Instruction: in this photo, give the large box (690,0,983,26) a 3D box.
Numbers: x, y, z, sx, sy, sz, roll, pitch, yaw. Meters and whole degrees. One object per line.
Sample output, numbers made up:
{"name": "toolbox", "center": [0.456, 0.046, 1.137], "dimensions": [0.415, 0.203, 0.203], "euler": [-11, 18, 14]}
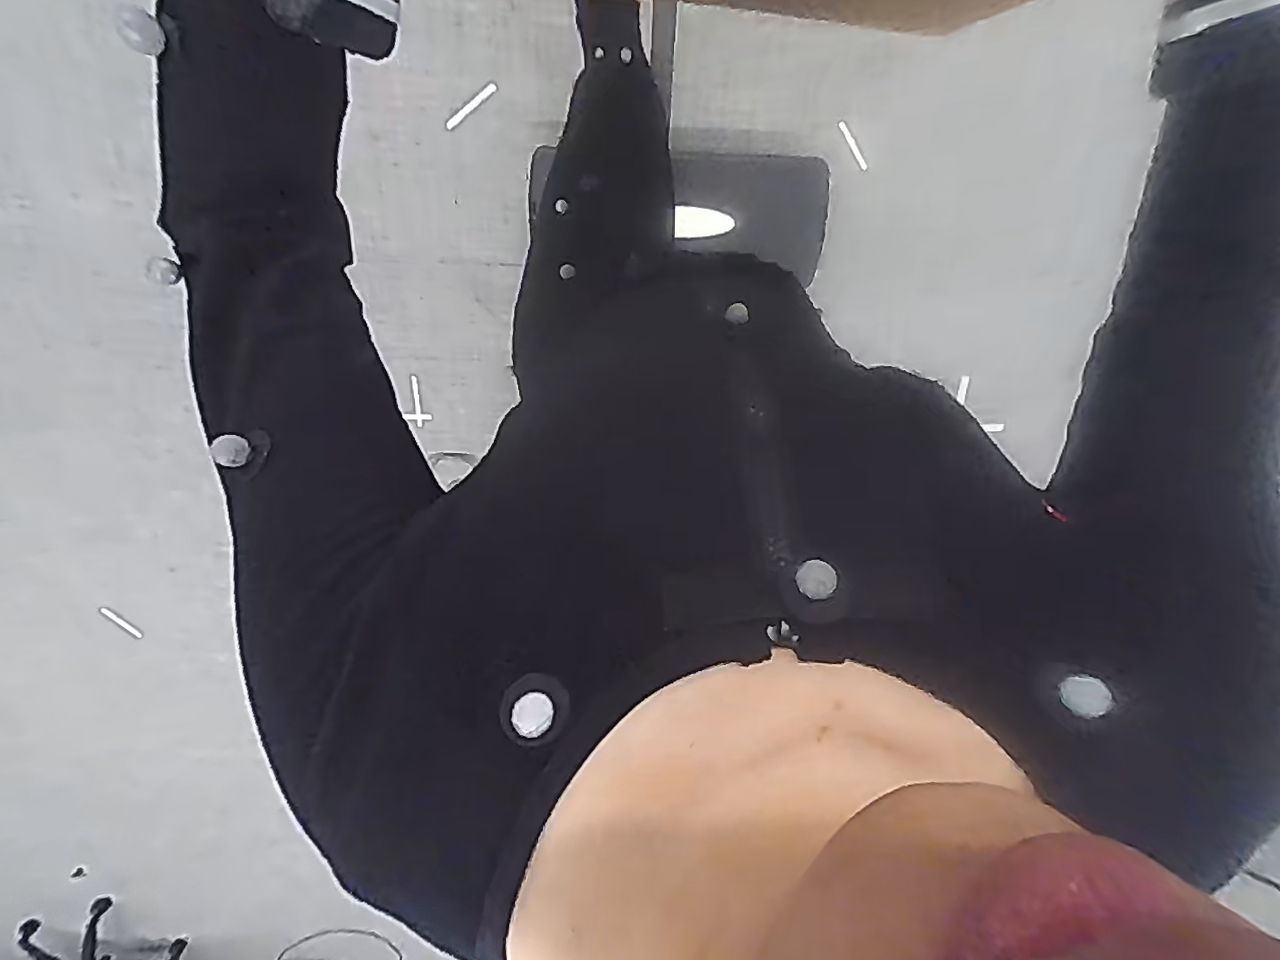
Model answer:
{"name": "large box", "center": [0.090, -0.489, 0.288], "dimensions": [0.408, 0.320, 0.320], "euler": [5, 121, -3]}
